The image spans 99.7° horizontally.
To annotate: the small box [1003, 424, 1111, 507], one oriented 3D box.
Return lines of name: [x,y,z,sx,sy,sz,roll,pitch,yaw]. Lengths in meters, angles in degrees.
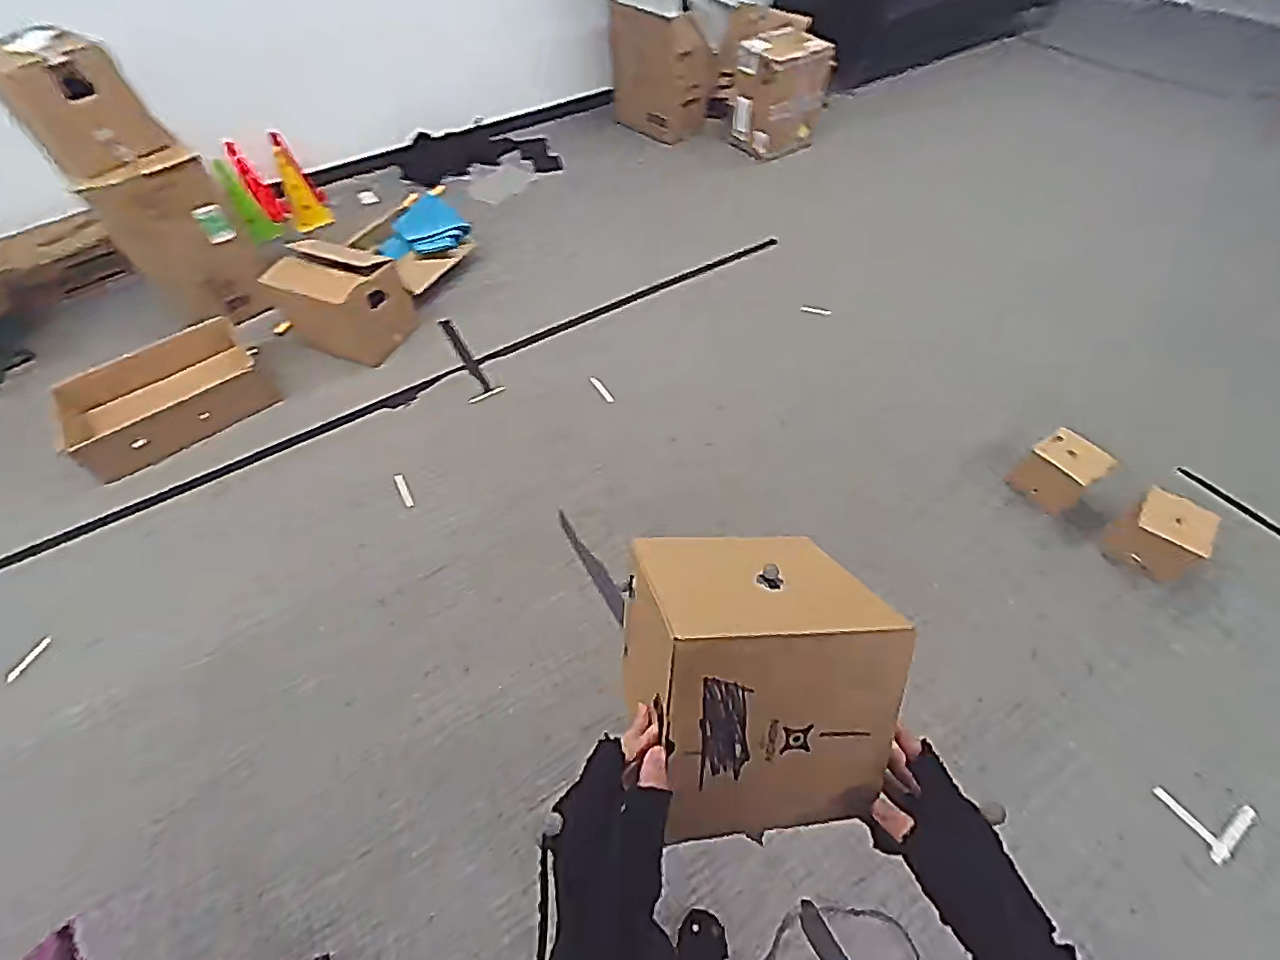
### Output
small box: [1.310,-0.039,1.710,0.168,0.176,0.179,-29,58,-17]

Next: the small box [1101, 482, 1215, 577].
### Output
small box: [1.493,0.146,1.567,0.168,0.176,0.179,32,62,24]

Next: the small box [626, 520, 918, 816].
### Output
small box: [0.087,0.138,0.451,0.179,0.168,0.176,1,16,-12]
